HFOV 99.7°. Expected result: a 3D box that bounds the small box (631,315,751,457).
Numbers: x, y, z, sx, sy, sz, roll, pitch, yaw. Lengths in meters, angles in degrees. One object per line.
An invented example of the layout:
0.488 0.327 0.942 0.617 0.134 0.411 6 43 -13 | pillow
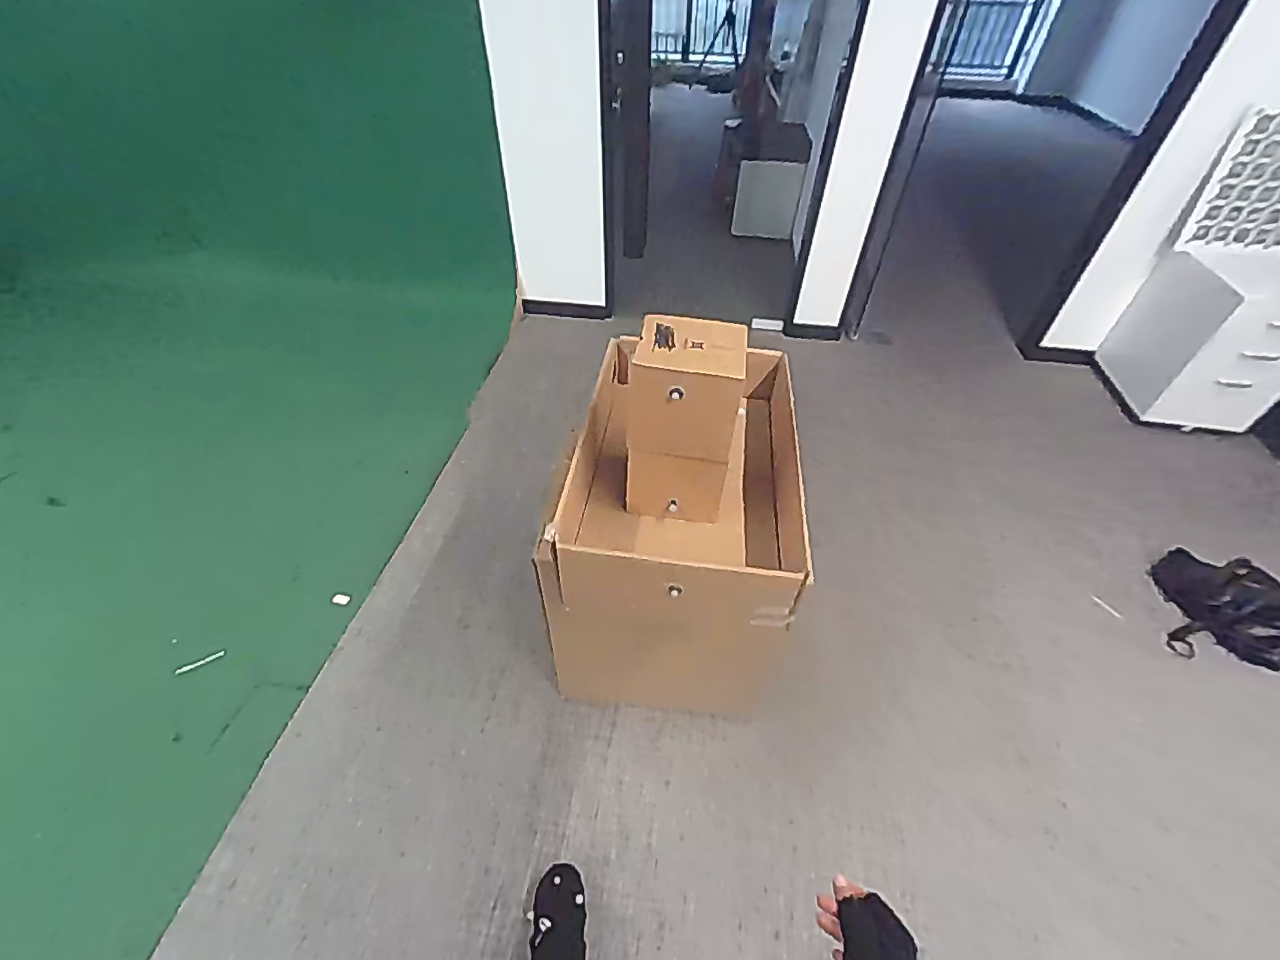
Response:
0.083 -0.157 0.914 0.179 0.176 0.168 9 44 5 | small box

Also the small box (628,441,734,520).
0.077 -0.042 1.031 0.179 0.176 0.168 7 43 3 | small box
